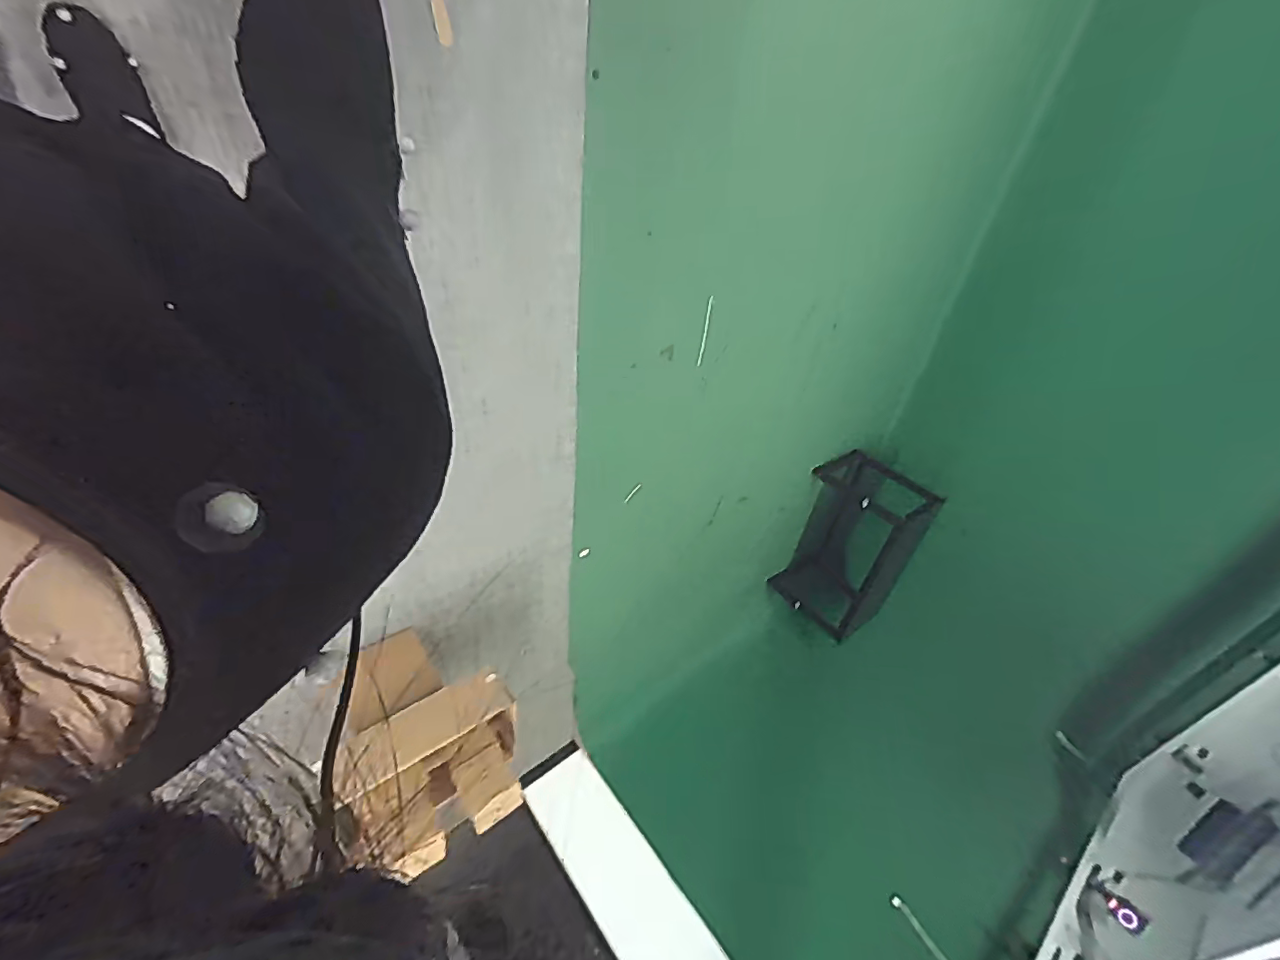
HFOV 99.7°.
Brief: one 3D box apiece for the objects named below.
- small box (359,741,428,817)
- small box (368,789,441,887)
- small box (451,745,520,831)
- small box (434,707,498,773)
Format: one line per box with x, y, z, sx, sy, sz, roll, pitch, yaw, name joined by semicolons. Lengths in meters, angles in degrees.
-0.824;1.015;1.799;0.168;0.176;0.179;-11;129;-41;small box
-0.738;1.109;1.695;0.168;0.176;0.179;-16;133;-37;small box
-0.530;1.043;1.850;0.168;0.176;0.179;-23;136;-31;small box
-0.626;0.965;1.959;0.168;0.176;0.179;-24;137;-31;small box
